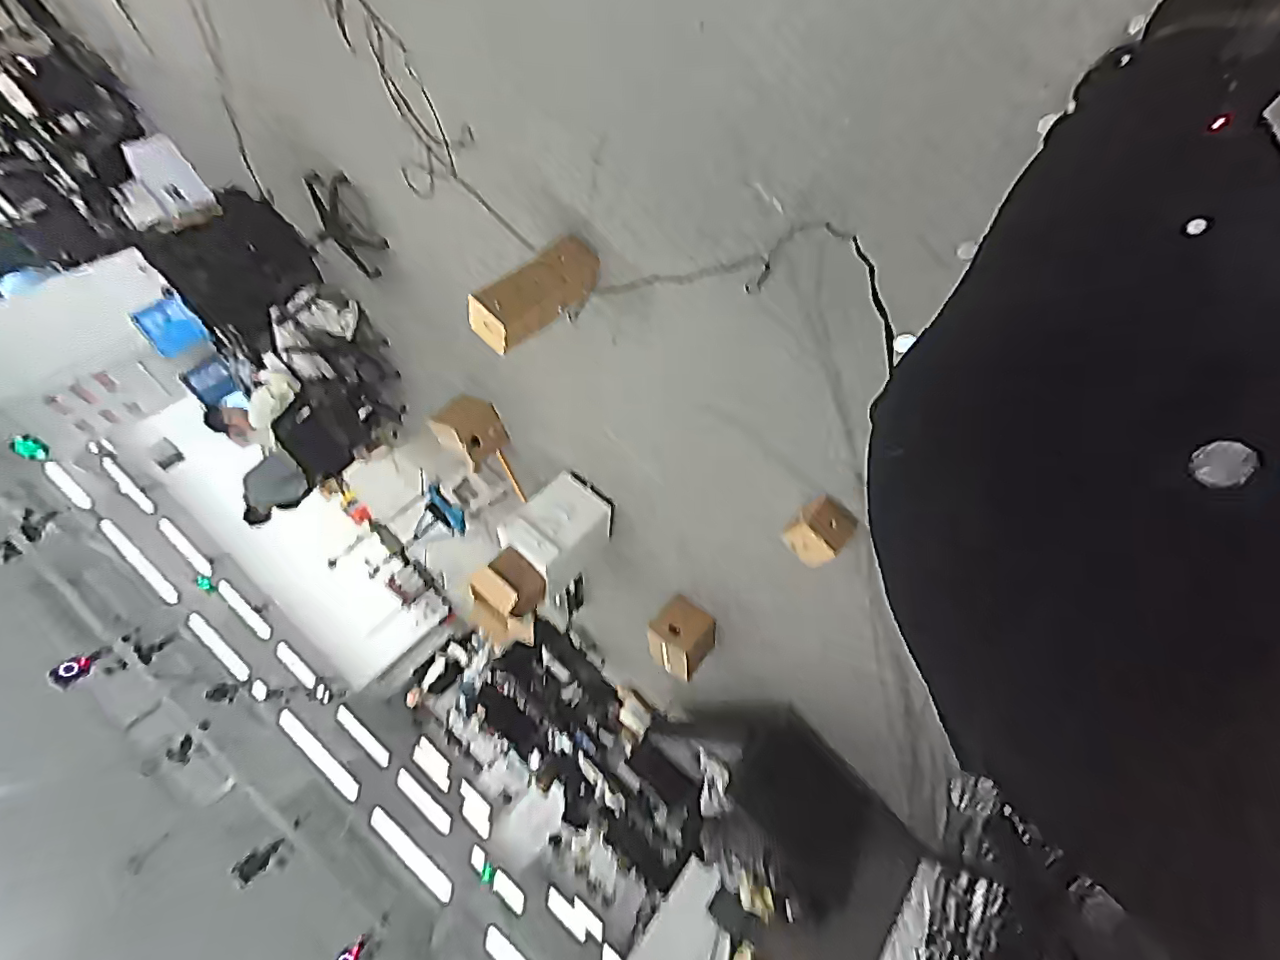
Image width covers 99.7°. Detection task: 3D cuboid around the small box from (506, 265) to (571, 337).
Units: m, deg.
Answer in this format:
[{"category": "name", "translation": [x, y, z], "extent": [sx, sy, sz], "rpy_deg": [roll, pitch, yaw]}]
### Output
[{"category": "small box", "translation": [-0.389, -0.682, 2.036], "extent": [0.179, 0.176, 0.168], "rpy_deg": [43, 152, 5]}]

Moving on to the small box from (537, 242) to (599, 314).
[{"category": "small box", "translation": [-0.282, -0.790, 2.099], "extent": [0.179, 0.176, 0.168], "rpy_deg": [42, 150, 9]}]

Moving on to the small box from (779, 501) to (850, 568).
[{"category": "small box", "translation": [0.675, 0.207, 2.069], "extent": [0.168, 0.176, 0.179], "rpy_deg": [46, 151, 1]}]

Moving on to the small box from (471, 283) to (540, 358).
[{"category": "small box", "translation": [-0.489, -0.584, 1.952], "extent": [0.179, 0.176, 0.168], "rpy_deg": [42, 151, 6]}]
